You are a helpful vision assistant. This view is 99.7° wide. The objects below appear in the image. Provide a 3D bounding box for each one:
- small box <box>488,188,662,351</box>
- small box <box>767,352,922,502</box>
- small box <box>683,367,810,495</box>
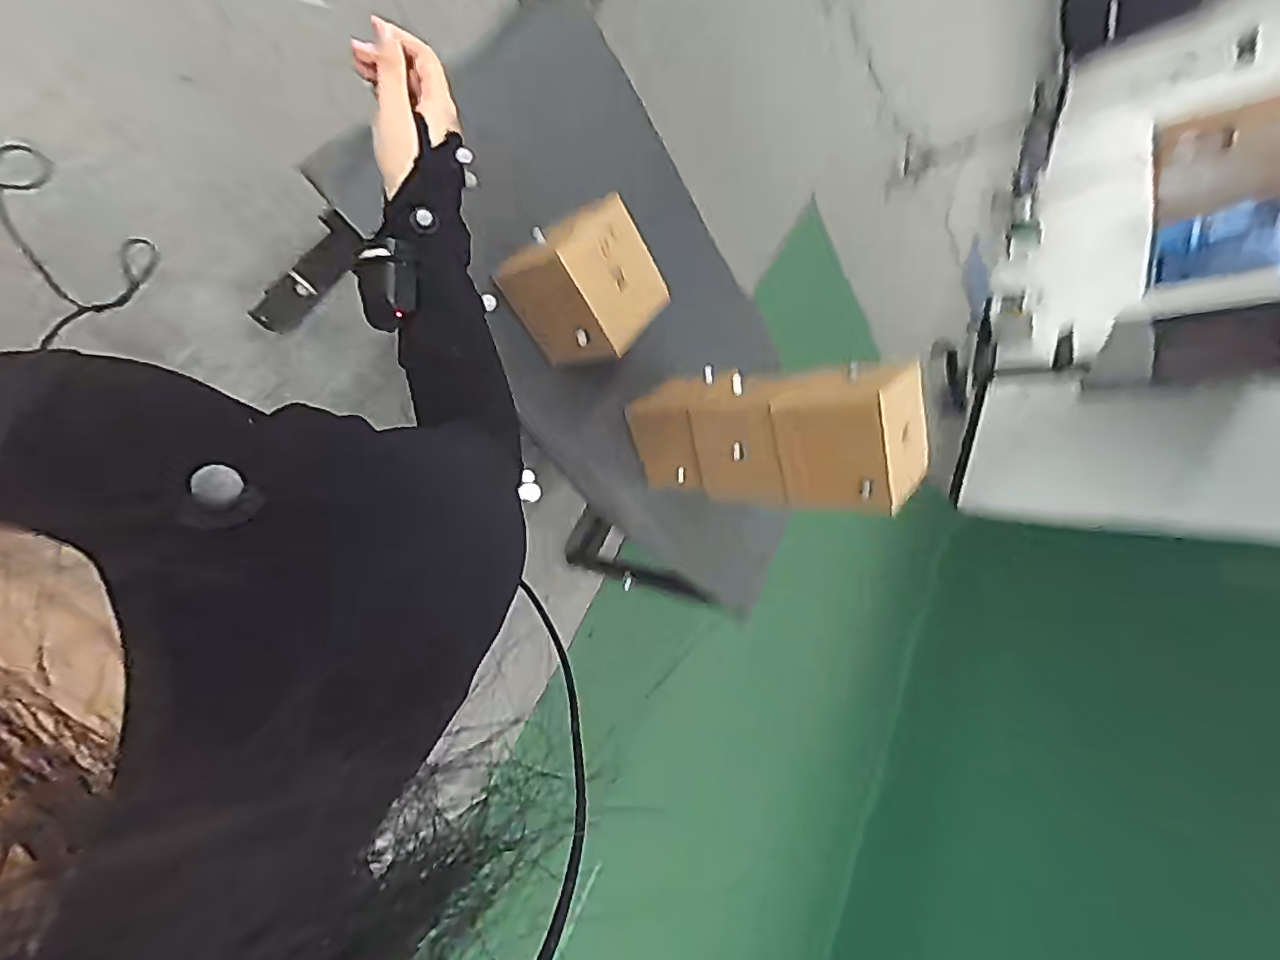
[{"bbox_3d":[-0.102,-0.323,0.864,0.168,0.176,0.179,-55,127,-28],"label":"small box"},{"bbox_3d":[0.313,-0.082,0.833,0.168,0.176,0.179,-34,116,-39],"label":"small box"},{"bbox_3d":[0.200,-0.089,0.950,0.168,0.176,0.179,-31,114,-40],"label":"small box"}]
